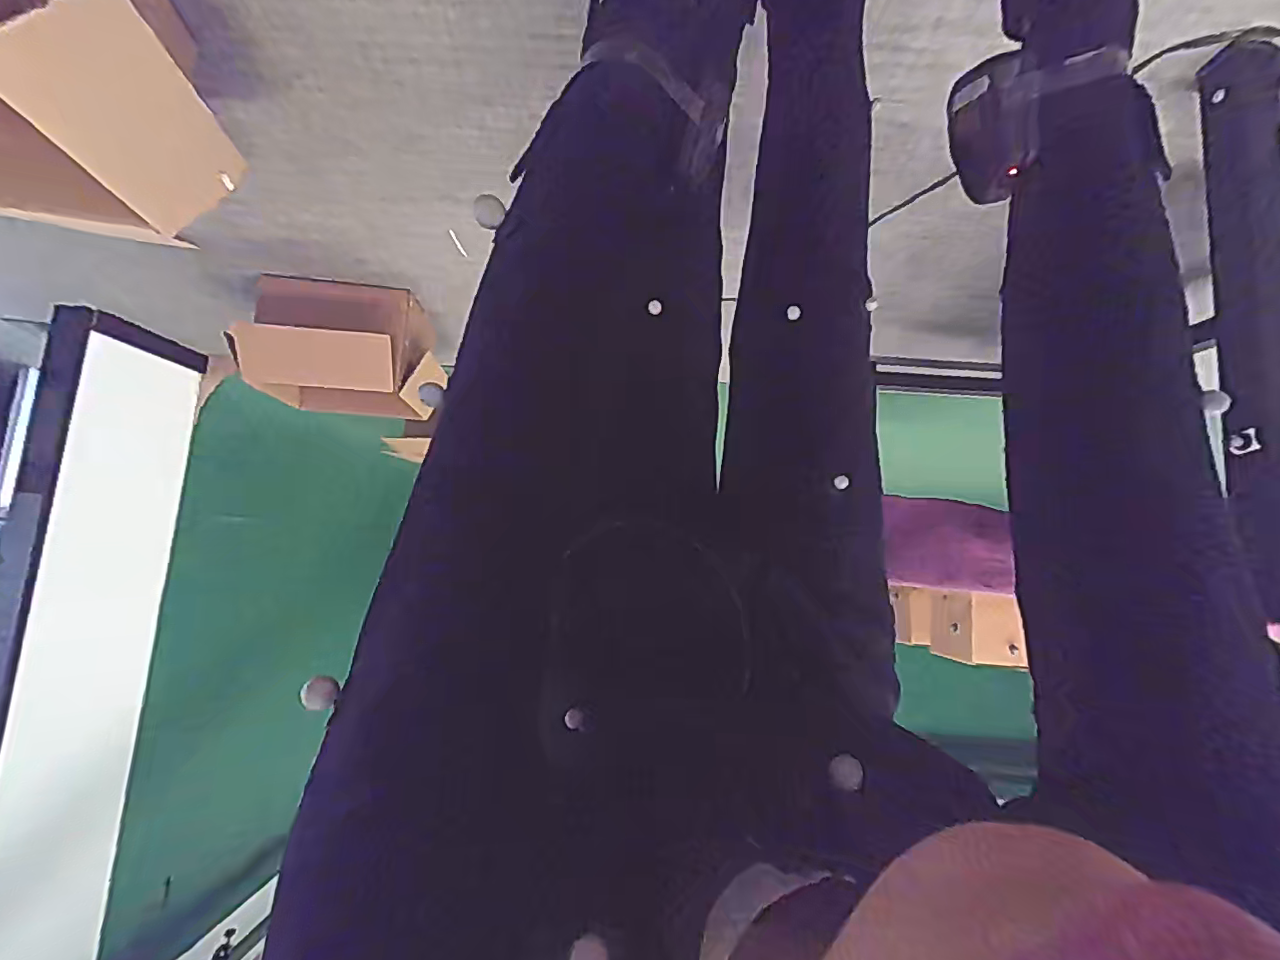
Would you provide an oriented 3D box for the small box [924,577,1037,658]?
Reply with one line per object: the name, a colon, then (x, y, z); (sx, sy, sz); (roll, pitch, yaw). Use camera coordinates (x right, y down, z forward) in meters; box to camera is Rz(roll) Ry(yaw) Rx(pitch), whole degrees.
small box: (0.817, 0.326, 1.310); (0.179, 0.176, 0.168); (5, 172, -4)
